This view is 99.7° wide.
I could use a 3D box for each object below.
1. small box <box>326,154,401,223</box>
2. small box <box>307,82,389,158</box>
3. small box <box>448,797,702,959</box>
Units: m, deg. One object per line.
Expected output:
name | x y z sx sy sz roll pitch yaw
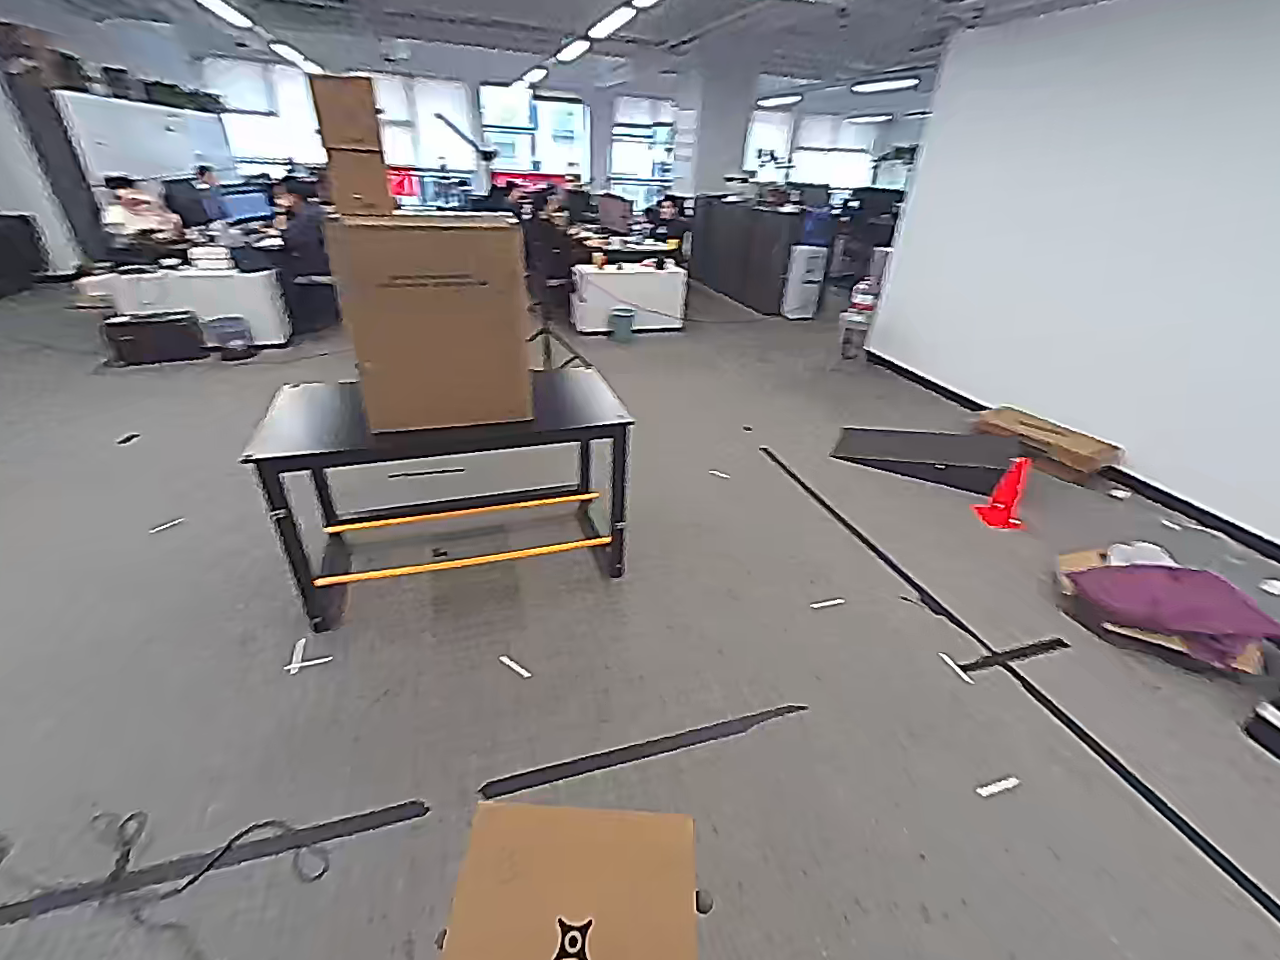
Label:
small box | -0.819 -0.870 1.614 0.168 0.176 0.179 -10 33 -20
small box | -0.810 -1.004 1.519 0.168 0.176 0.179 -9 32 -19
small box | -0.045 0.364 0.402 0.168 0.176 0.179 2 42 0
